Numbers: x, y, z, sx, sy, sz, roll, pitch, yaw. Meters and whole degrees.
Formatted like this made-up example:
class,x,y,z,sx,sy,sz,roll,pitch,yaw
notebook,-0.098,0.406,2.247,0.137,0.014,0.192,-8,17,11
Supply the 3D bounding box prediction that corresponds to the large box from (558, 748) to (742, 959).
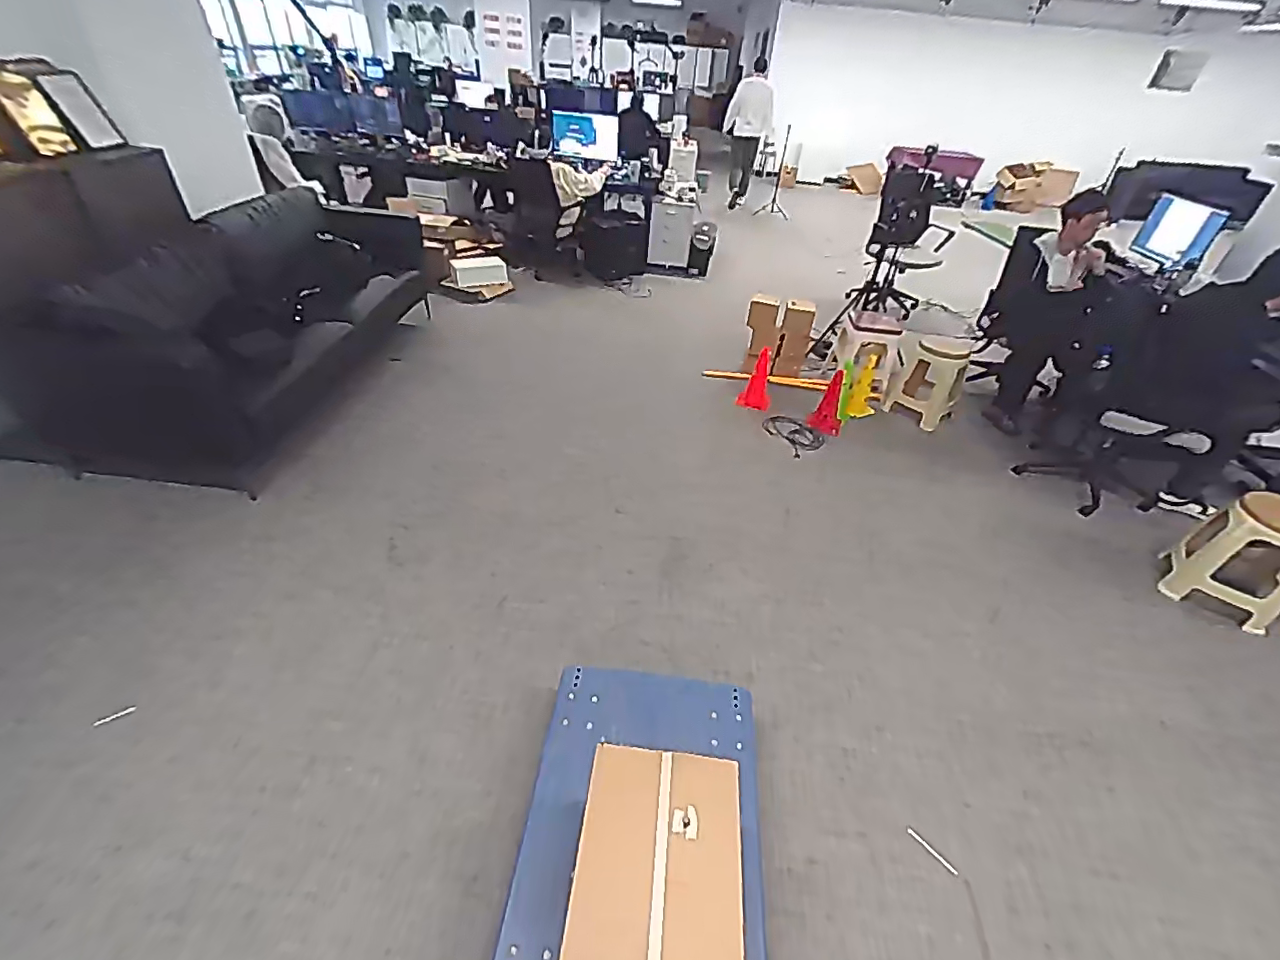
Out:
class,x,y,z,sx,sy,sz,roll,pitch,yaw
large box,0.021,0.842,1.115,0.320,0.320,0.408,7,37,2
